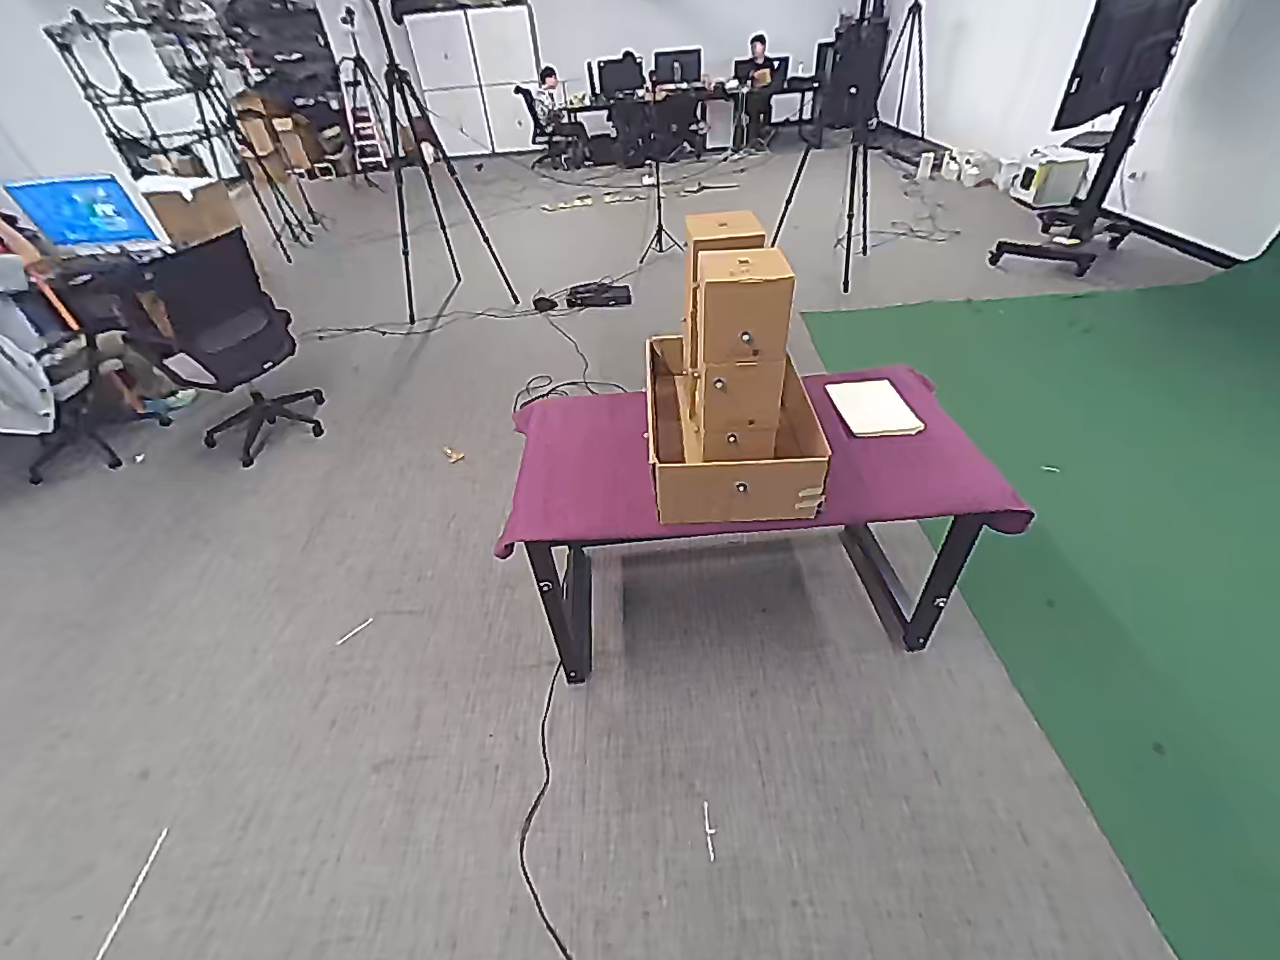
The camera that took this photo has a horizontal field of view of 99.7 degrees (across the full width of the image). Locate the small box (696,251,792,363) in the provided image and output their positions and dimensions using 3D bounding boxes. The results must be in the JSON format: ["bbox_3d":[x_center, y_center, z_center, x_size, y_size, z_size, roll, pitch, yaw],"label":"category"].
[{"bbox_3d":[0.203,-0.355,1.107,0.168,0.176,0.179,-2,41,3],"label":"small box"}]

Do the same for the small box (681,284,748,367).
[{"bbox_3d":[0.200,-0.410,1.427,0.168,0.176,0.179,-5,42,-1],"label":"small box"}]

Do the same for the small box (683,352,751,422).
[{"bbox_3d":[0.210,-0.283,1.531,0.168,0.176,0.179,-4,43,0],"label":"small box"}]

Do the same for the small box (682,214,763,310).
[{"bbox_3d":[0.192,-0.530,1.317,0.168,0.176,0.179,-5,43,0],"label":"small box"}]
